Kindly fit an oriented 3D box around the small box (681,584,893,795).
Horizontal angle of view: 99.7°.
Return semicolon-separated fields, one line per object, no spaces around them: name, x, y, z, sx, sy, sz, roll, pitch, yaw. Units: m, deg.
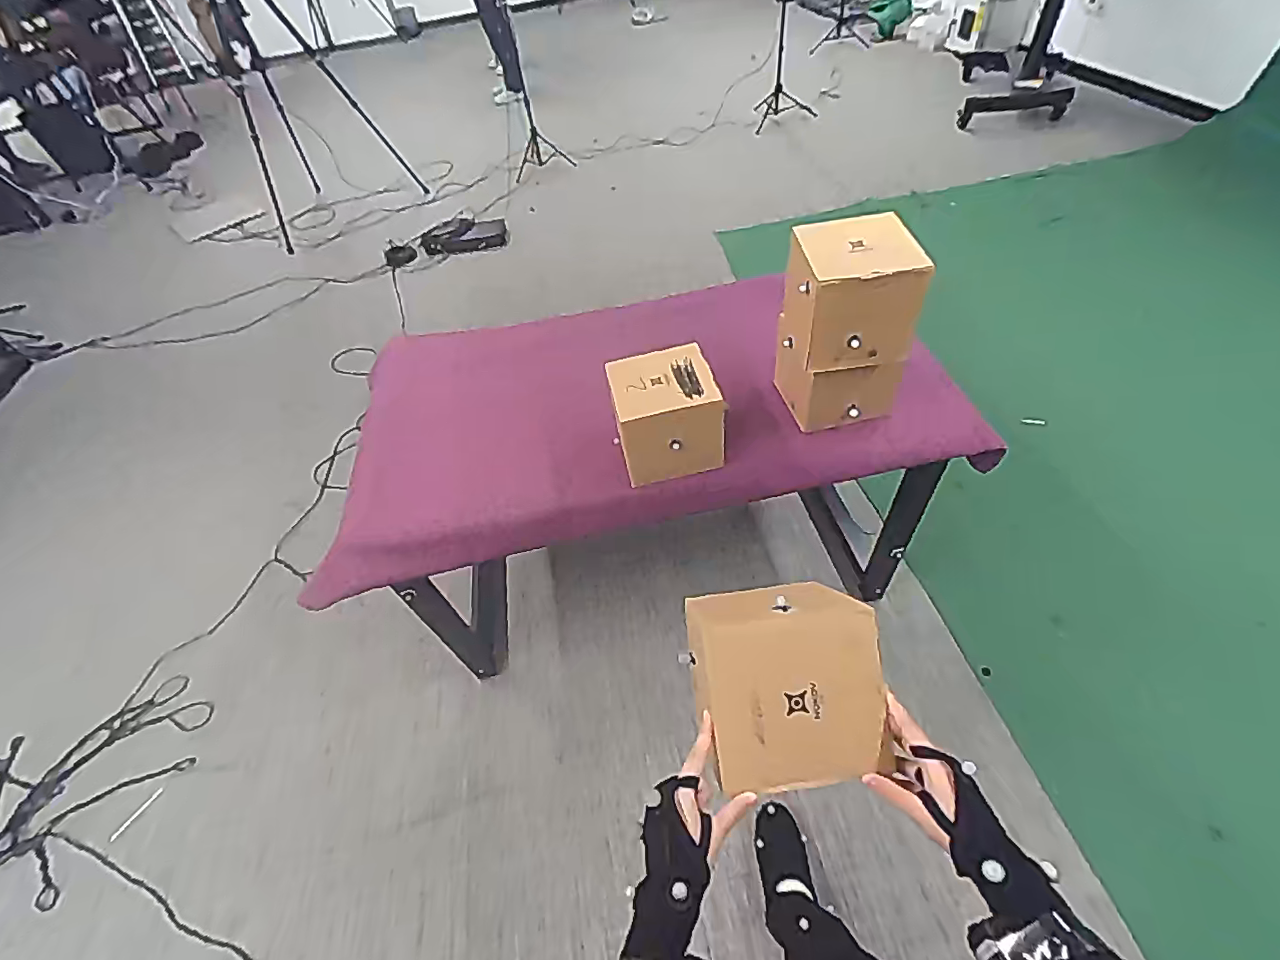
small box;0.148;0.215;0.601;0.179;0.176;0.168;-6;87;-2

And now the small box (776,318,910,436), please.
small box;0.369;-0.207;1.020;0.179;0.176;0.168;-13;47;-2

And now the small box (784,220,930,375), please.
small box;0.338;-0.297;0.885;0.168;0.176;0.179;-7;49;4
